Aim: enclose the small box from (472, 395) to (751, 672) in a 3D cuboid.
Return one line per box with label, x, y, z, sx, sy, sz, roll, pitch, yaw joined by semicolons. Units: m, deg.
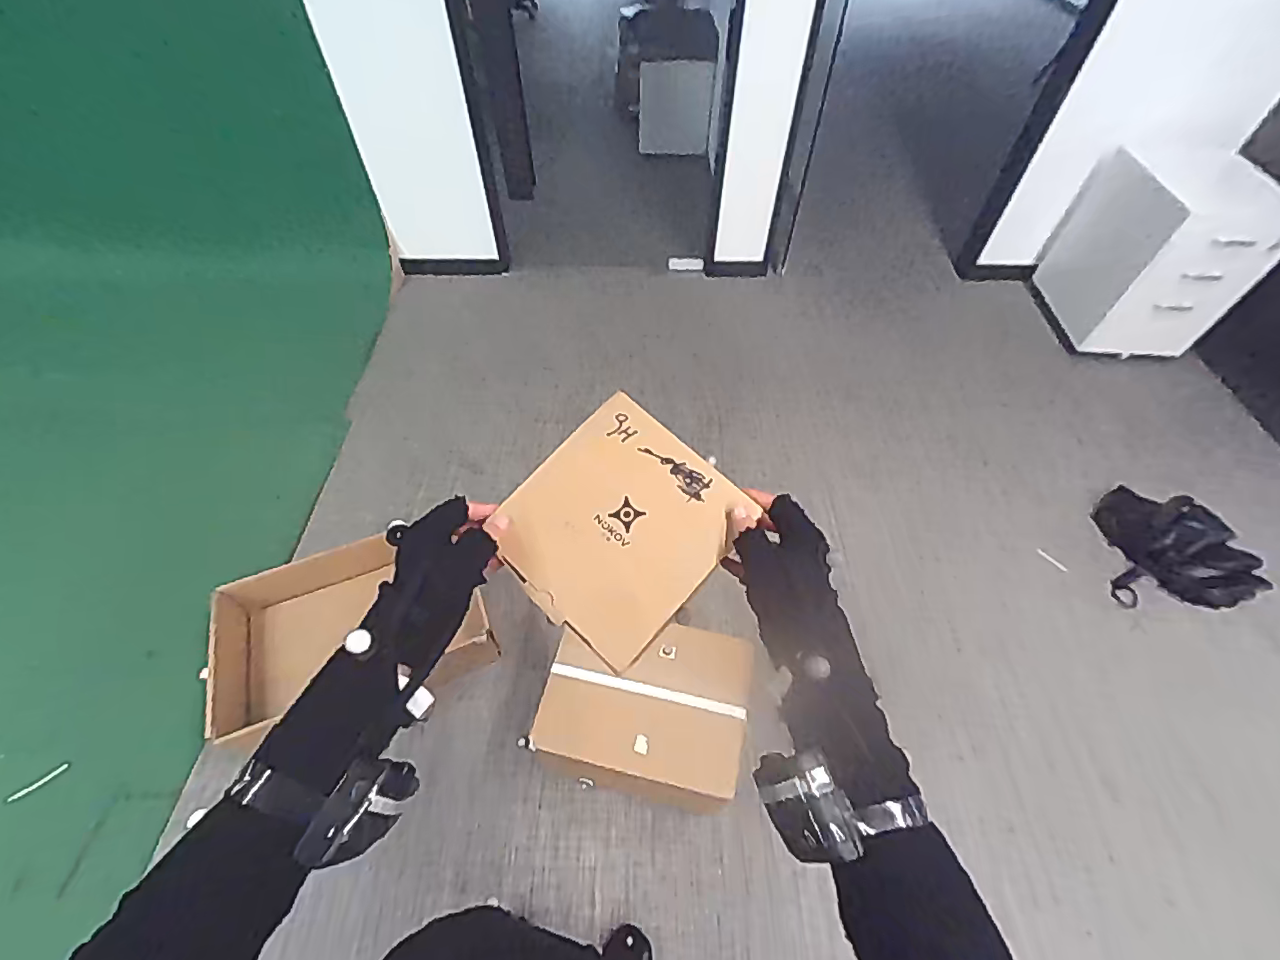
small box;-0.019;0.060;0.517;0.168;0.176;0.179;41;78;14
